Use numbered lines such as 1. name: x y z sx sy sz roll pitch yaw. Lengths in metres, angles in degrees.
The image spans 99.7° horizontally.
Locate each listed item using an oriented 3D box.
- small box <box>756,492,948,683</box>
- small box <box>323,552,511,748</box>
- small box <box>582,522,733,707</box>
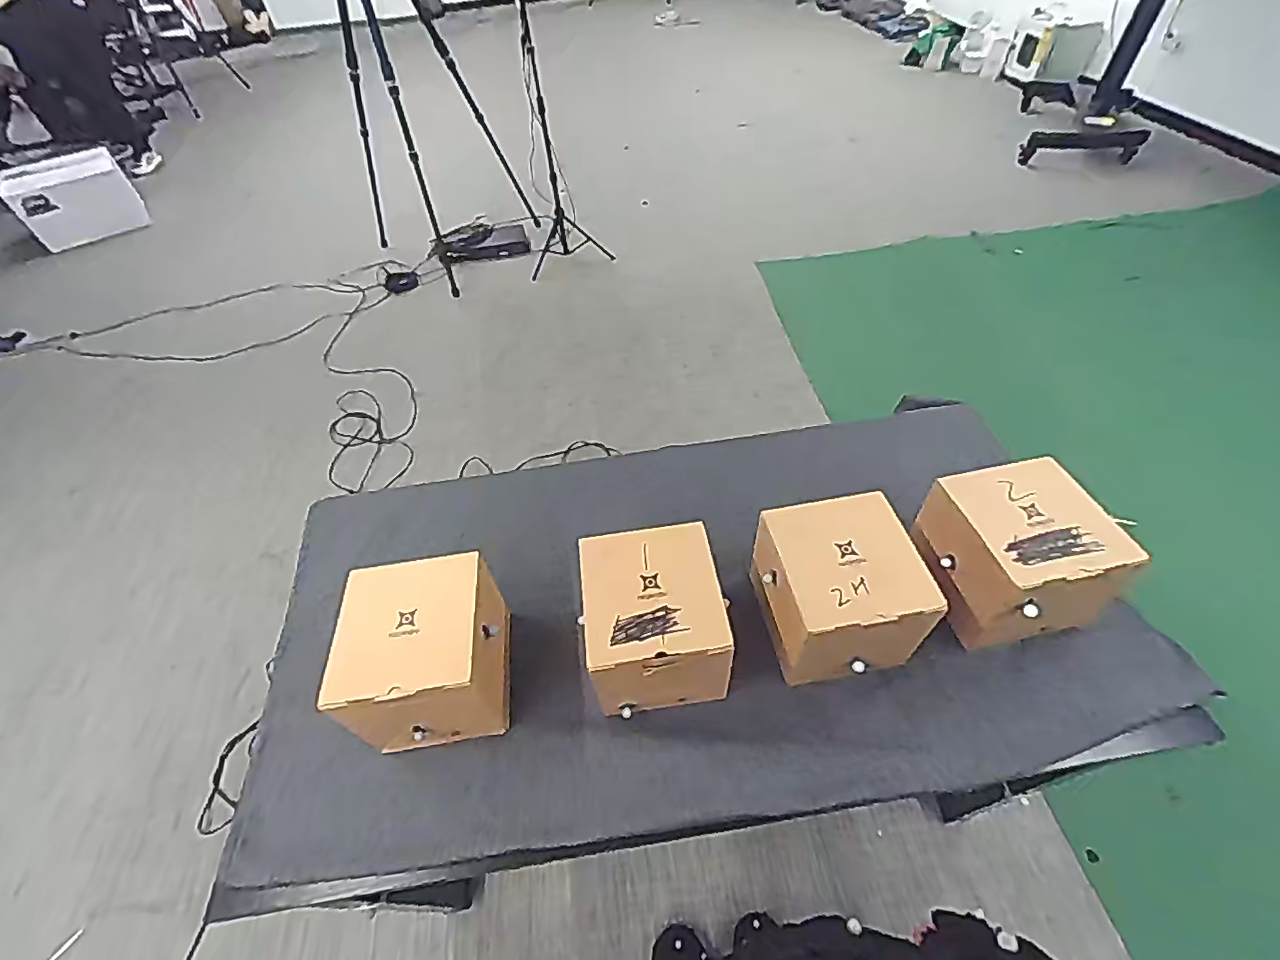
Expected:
1. small box: 0.259 0.144 0.716 0.168 0.176 0.179 -10 50 -2
2. small box: -0.266 0.219 0.695 0.168 0.176 0.179 -8 49 -3
3. small box: 0.020 0.181 0.704 0.168 0.176 0.179 -7 49 -2
